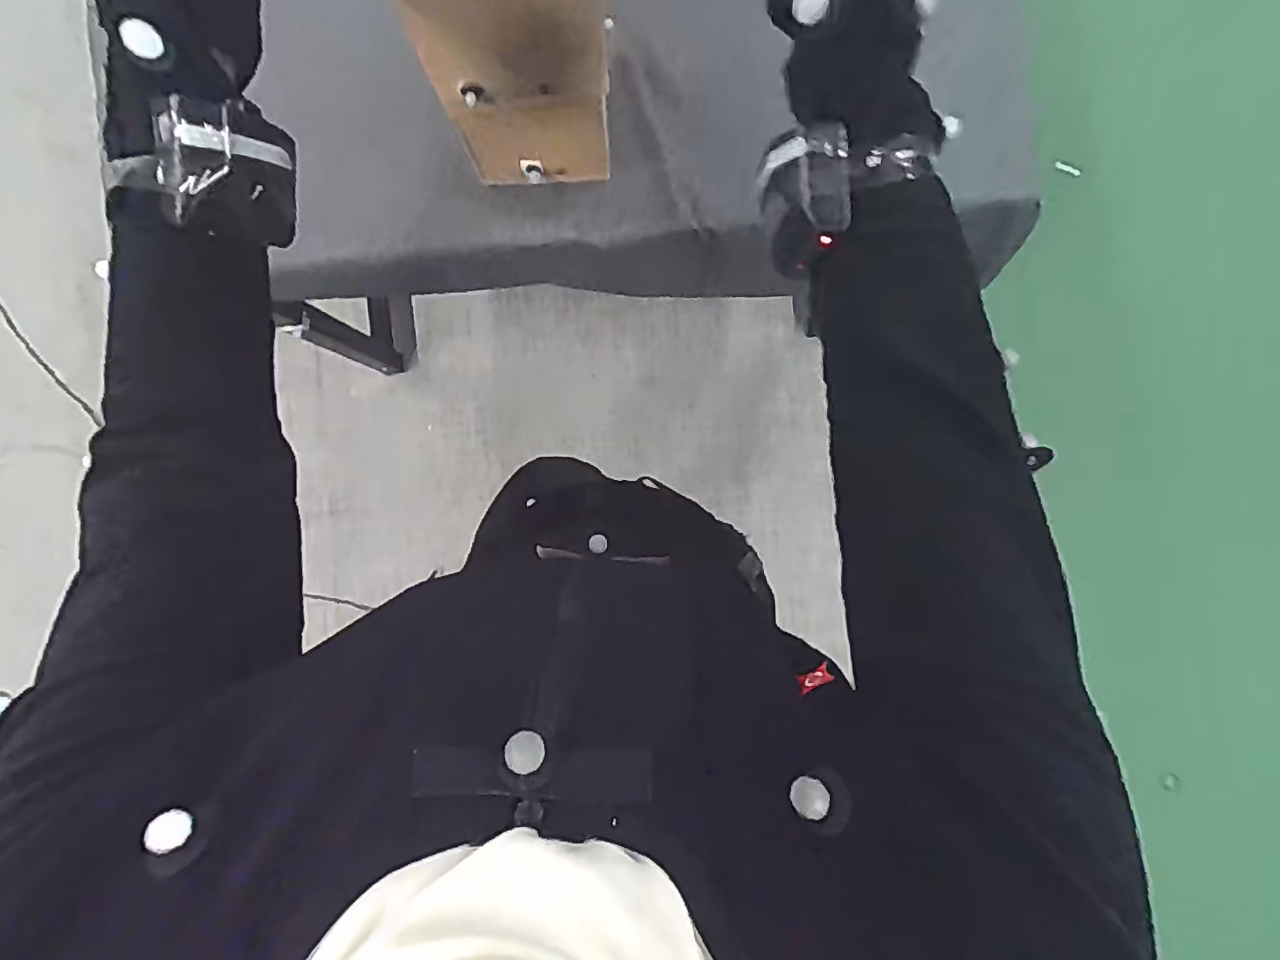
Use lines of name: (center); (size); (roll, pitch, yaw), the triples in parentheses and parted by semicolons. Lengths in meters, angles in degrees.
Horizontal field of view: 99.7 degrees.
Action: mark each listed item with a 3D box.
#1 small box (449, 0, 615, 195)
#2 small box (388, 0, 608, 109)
small box: (-0.120, -0.470, 0.637); (0.168, 0.176, 0.179); (-4, 90, 1)
small box: (-0.123, -0.462, 0.473); (0.168, 0.176, 0.179); (-8, 87, 0)
